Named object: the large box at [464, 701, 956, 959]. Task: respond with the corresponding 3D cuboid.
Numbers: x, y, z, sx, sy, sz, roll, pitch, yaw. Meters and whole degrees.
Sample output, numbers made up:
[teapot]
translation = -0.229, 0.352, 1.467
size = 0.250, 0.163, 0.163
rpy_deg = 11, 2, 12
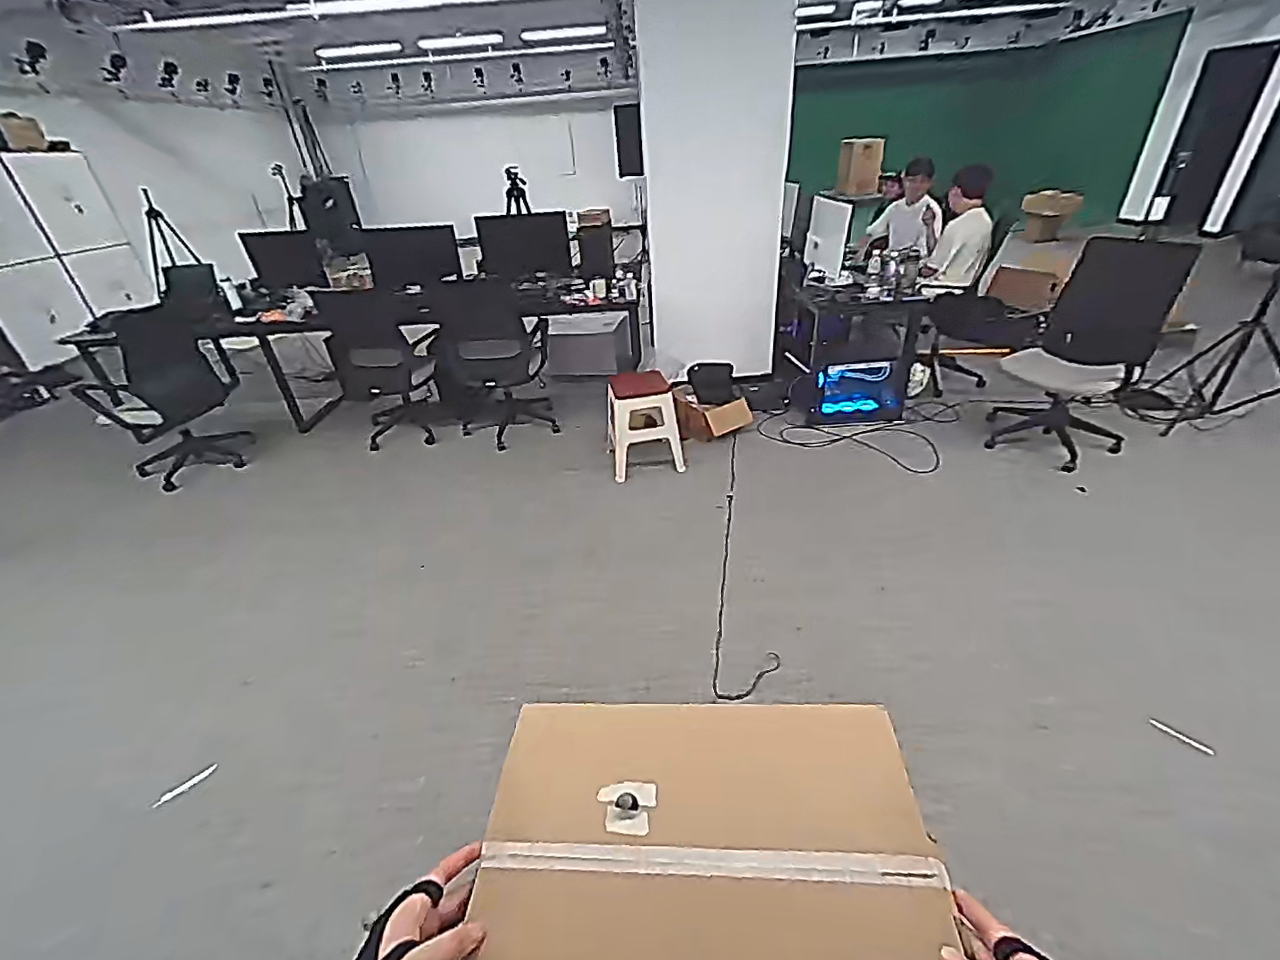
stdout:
[large box]
translation = 0.072, 0.469, 0.576
size = 0.408, 0.320, 0.320
rpy_deg = -5, 34, 7
